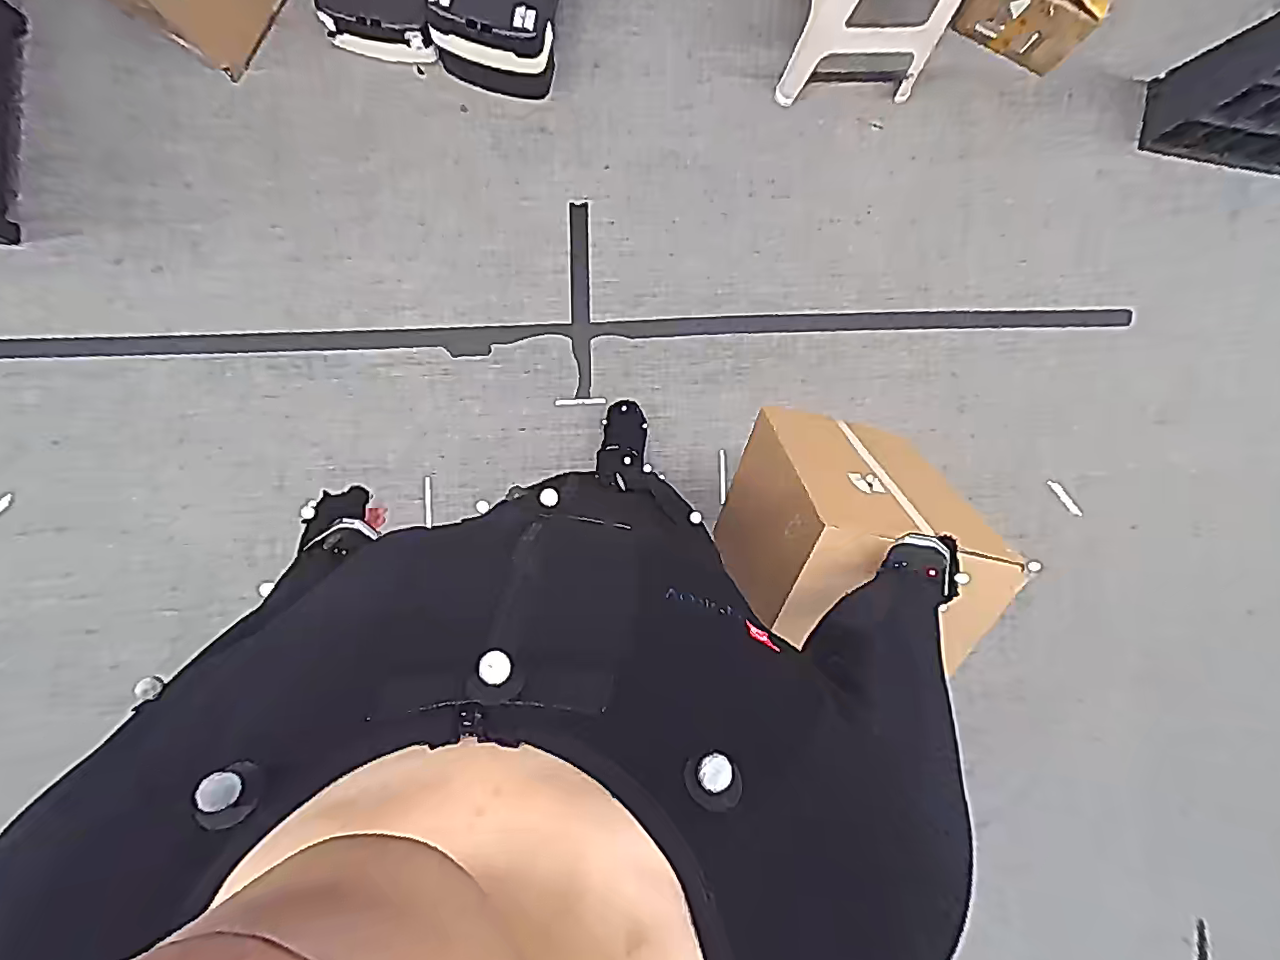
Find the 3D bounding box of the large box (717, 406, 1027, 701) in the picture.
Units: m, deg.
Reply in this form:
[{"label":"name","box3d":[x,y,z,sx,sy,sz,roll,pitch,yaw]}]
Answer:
[{"label":"large box","box3d":[0.354,0.115,0.976,0.320,0.408,0.320,12,121,-8]}]
